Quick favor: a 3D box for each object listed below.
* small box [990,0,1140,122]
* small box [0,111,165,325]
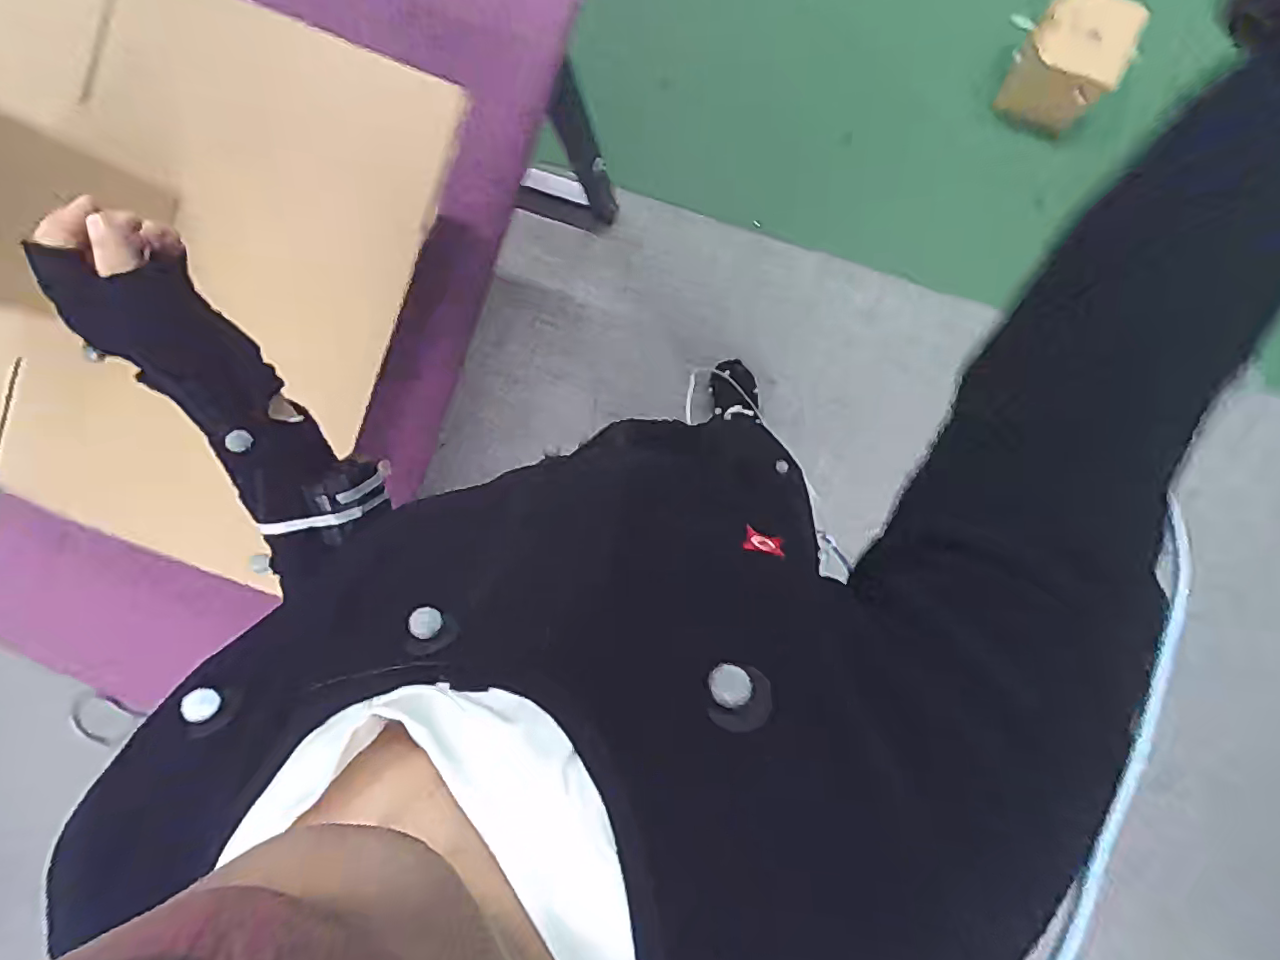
[{"bbox_3d":[0.957,-0.963,1.235,0.179,0.176,0.168,21,96,3],"label":"small box"},{"bbox_3d":[-0.617,-0.260,0.517,0.179,0.176,0.168,19,96,3],"label":"small box"}]
